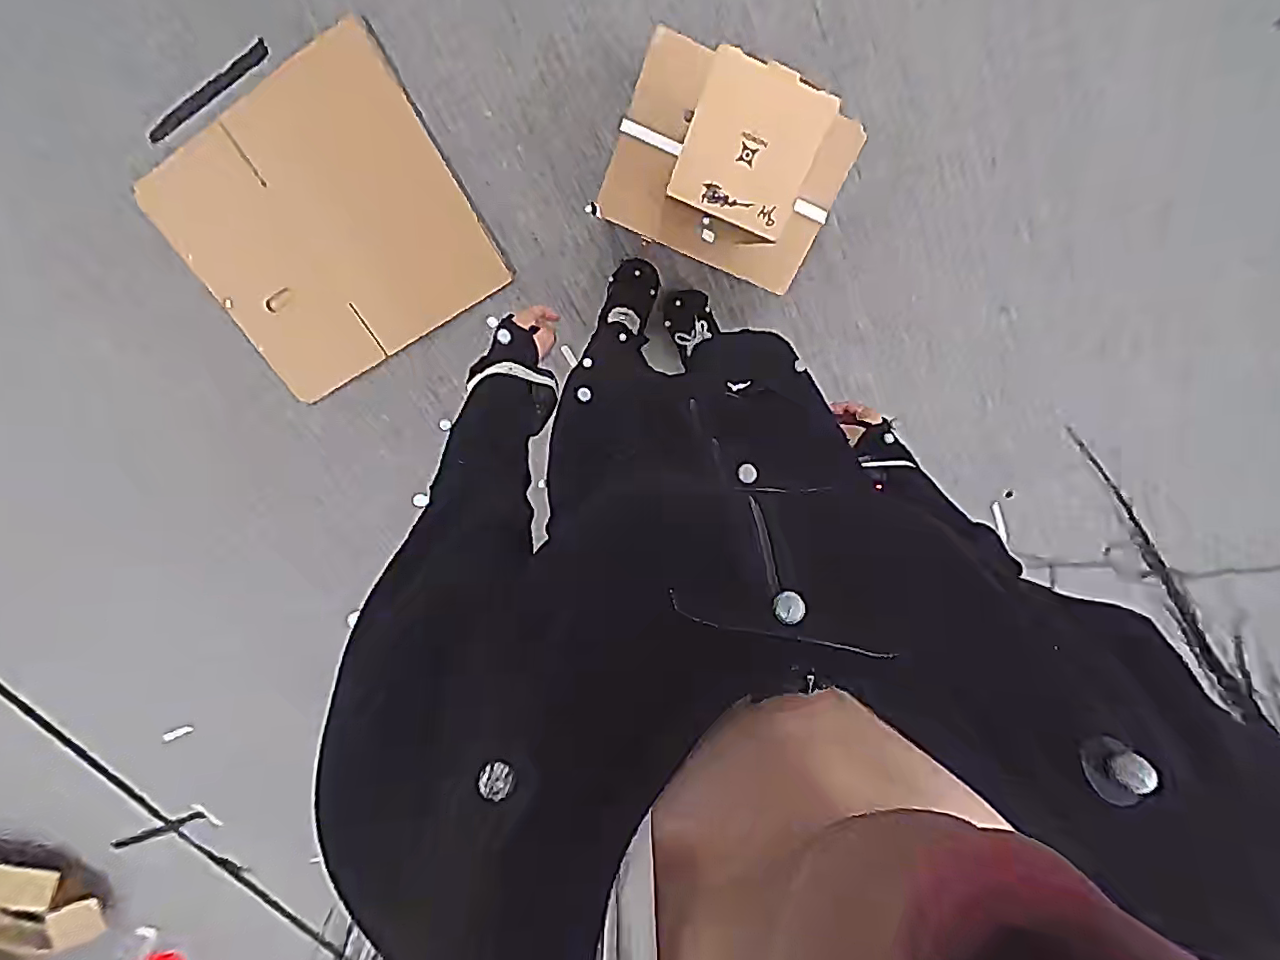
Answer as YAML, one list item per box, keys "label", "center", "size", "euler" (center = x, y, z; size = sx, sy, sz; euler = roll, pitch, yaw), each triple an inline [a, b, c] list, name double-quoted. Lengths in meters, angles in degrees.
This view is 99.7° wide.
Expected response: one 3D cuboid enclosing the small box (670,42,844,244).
- label: "small box"
  center: [0.145, -0.448, 0.752]
  size: [0.168, 0.176, 0.179]
  euler: [21, 112, -7]
